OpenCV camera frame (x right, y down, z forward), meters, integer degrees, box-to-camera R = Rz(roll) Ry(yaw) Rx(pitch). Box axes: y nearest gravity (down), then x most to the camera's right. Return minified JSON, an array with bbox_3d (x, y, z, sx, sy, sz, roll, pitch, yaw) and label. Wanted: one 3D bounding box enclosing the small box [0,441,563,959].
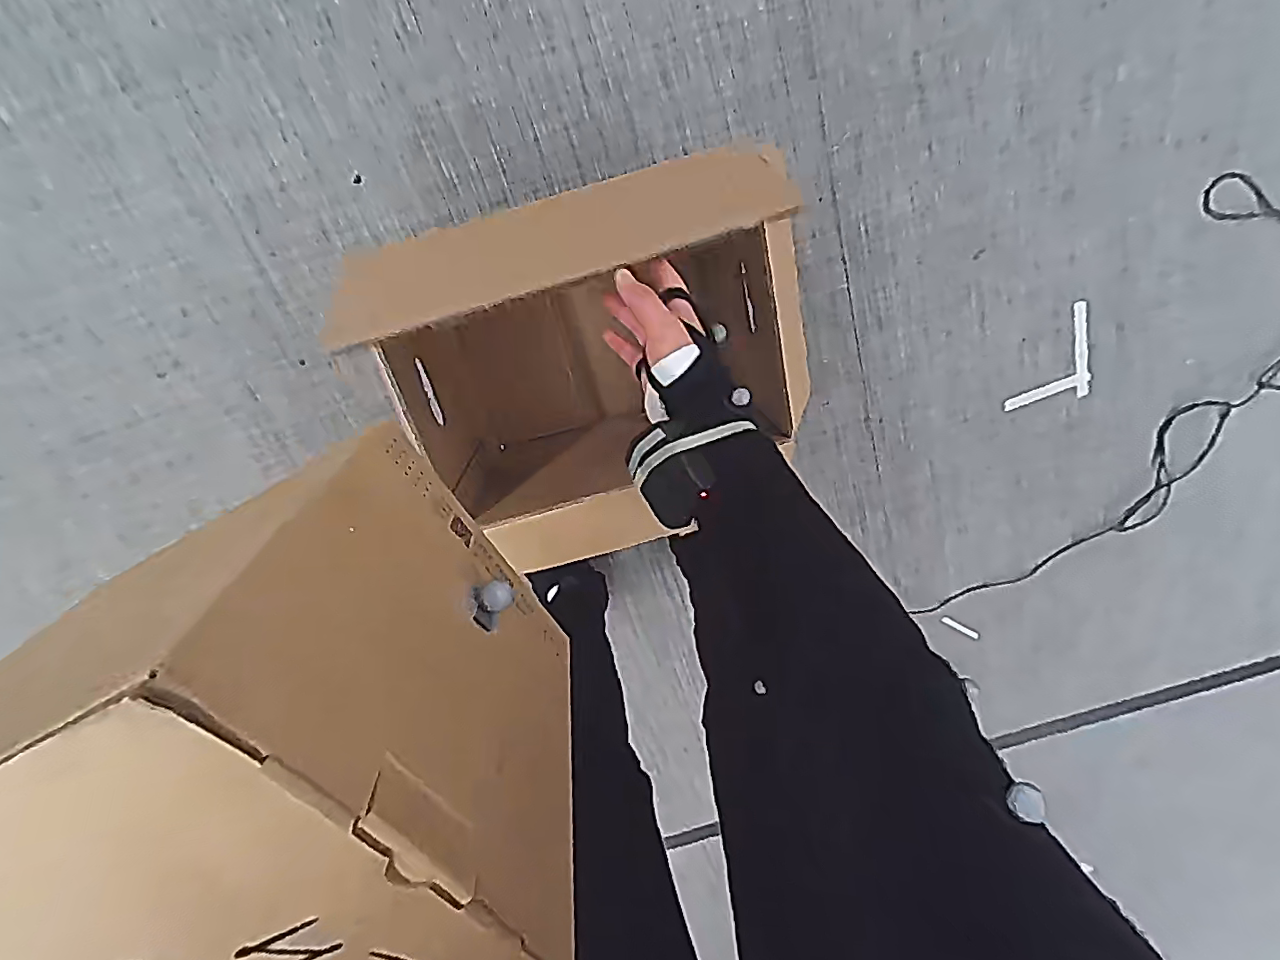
[{"bbox_3d":[-0.145,0.111,0.230,0.179,0.176,0.168,-29,115,4],"label":"small box"}]
